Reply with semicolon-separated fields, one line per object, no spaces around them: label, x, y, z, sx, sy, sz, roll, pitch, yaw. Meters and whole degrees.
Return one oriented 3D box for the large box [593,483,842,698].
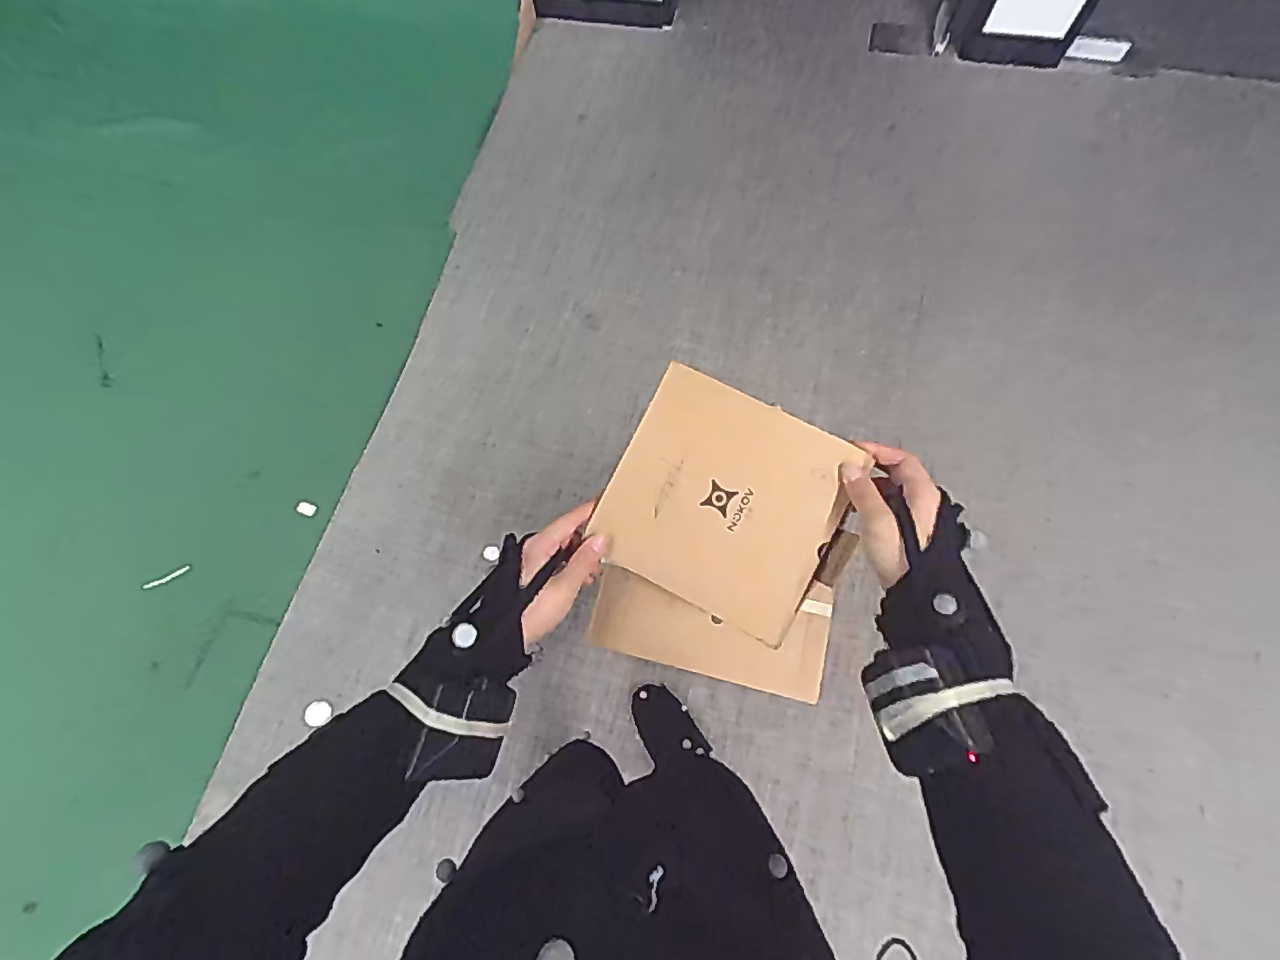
large box;0.148;0.229;1.101;0.408;0.320;0.320;12;74;7
